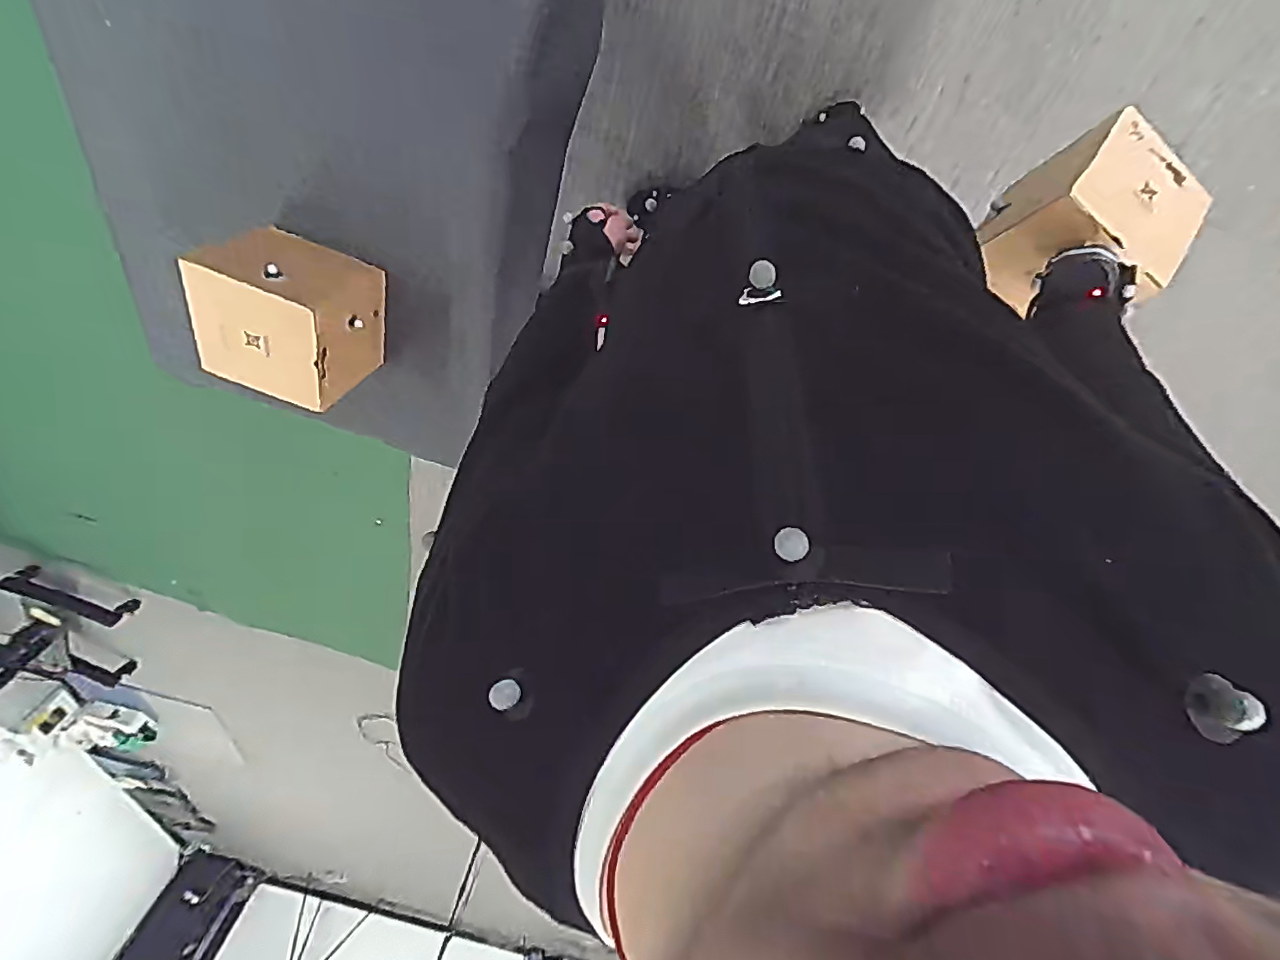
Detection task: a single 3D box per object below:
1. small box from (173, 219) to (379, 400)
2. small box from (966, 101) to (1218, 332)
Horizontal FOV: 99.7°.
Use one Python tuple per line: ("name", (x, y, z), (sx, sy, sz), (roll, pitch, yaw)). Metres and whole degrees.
("small box", (-0.497, -0.247, 0.770), (0.179, 0.176, 0.168), (22, 128, -4))
("small box", (0.574, -0.327, 0.709), (0.168, 0.179, 0.176), (41, 166, -6))
